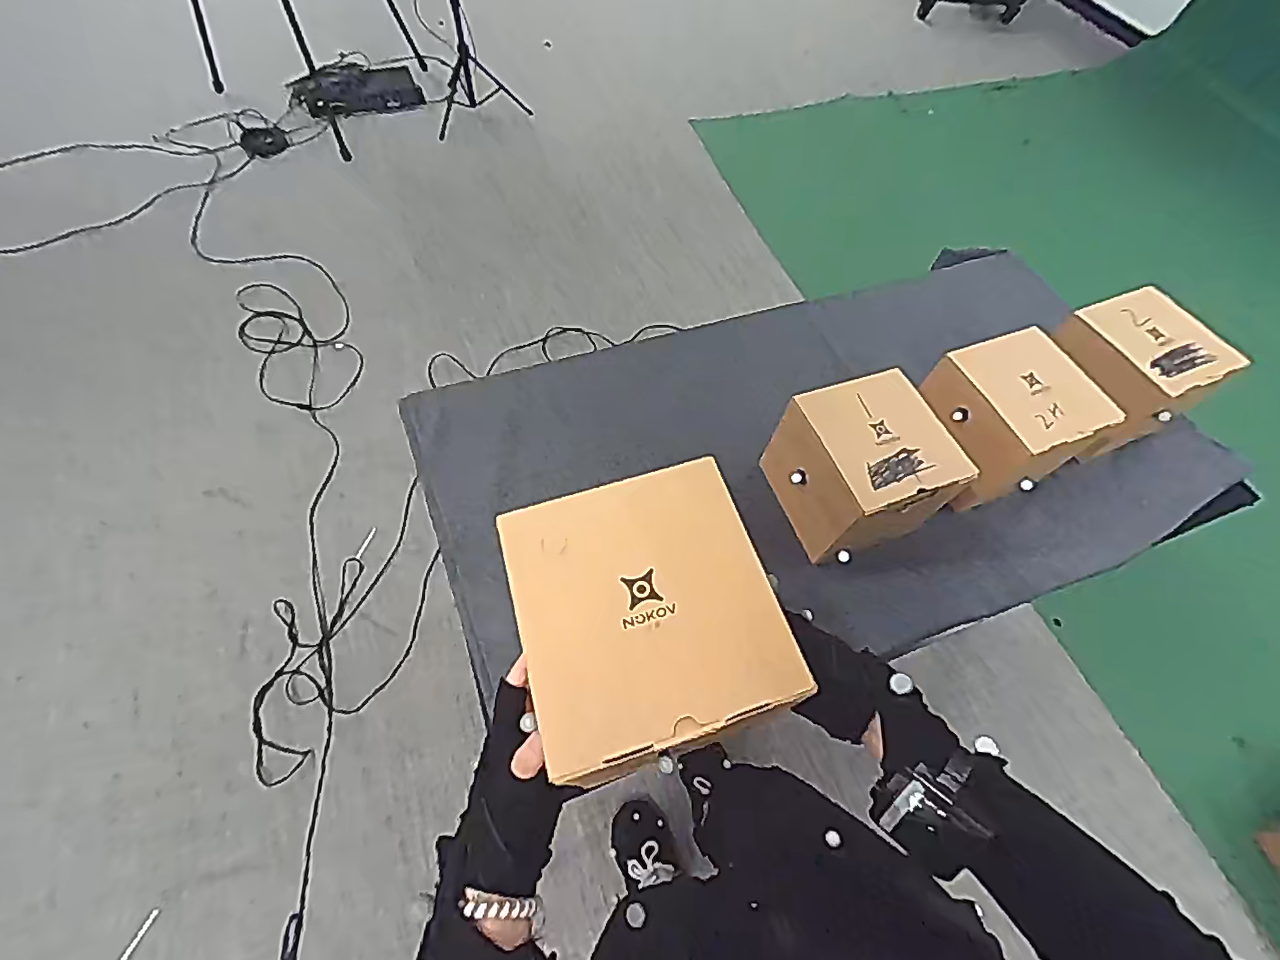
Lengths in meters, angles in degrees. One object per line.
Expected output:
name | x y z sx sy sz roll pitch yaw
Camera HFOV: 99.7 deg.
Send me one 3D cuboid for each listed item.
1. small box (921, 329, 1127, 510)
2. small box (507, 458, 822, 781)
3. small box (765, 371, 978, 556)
small box | 0.518 -0.084 0.785 0.168 0.176 0.179 -18 64 -13
small box | 0.007 0.114 0.421 0.168 0.176 0.179 -16 62 -9
small box | 0.293 -0.013 0.729 0.168 0.176 0.179 -16 62 -13
